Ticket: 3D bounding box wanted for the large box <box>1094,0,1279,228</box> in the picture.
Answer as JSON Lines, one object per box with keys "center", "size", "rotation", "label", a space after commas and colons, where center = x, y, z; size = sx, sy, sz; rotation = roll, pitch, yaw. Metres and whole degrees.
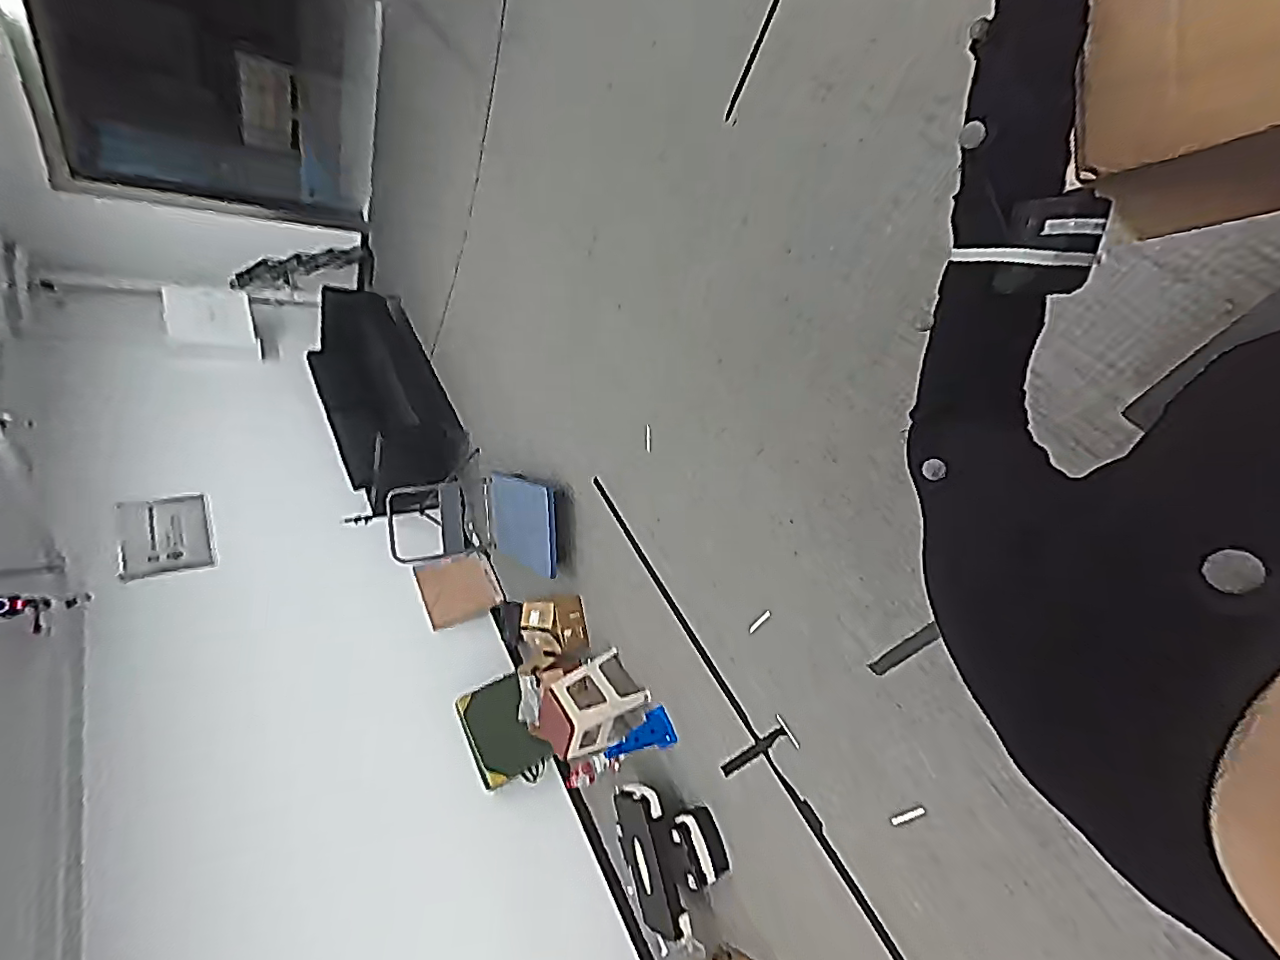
{"center": [0.535, -0.386, 0.305], "size": [0.408, 0.320, 0.320], "rotation": [2, 101, 47], "label": "large box"}
